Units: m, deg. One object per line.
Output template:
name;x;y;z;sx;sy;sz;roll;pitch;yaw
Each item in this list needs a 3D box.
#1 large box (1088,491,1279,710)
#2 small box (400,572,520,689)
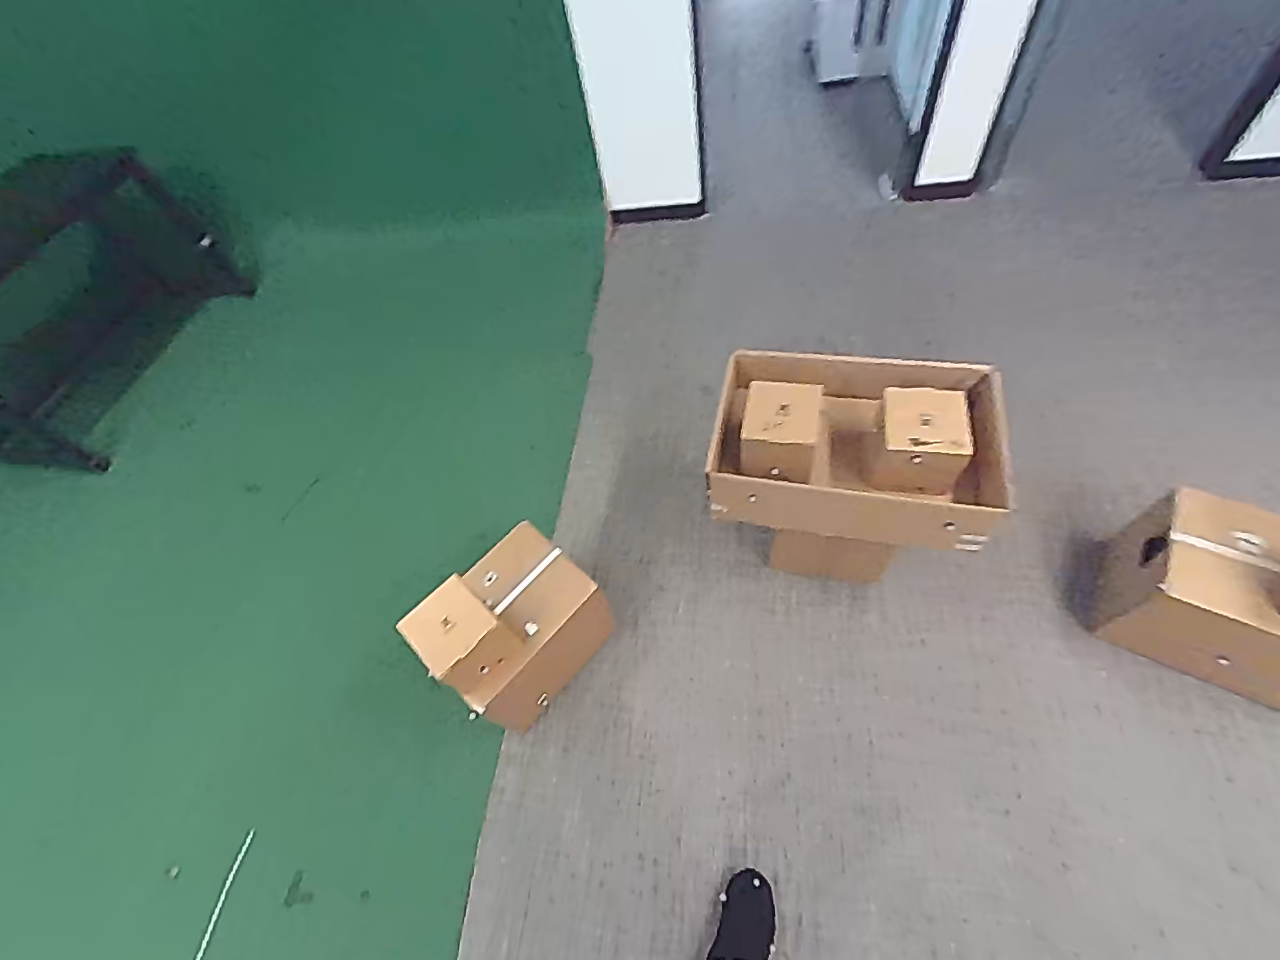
large box;1.397;0.287;1.283;0.408;0.320;0.320;22;63;23
small box;-0.408;0.352;1.247;0.179;0.176;0.168;38;69;26
